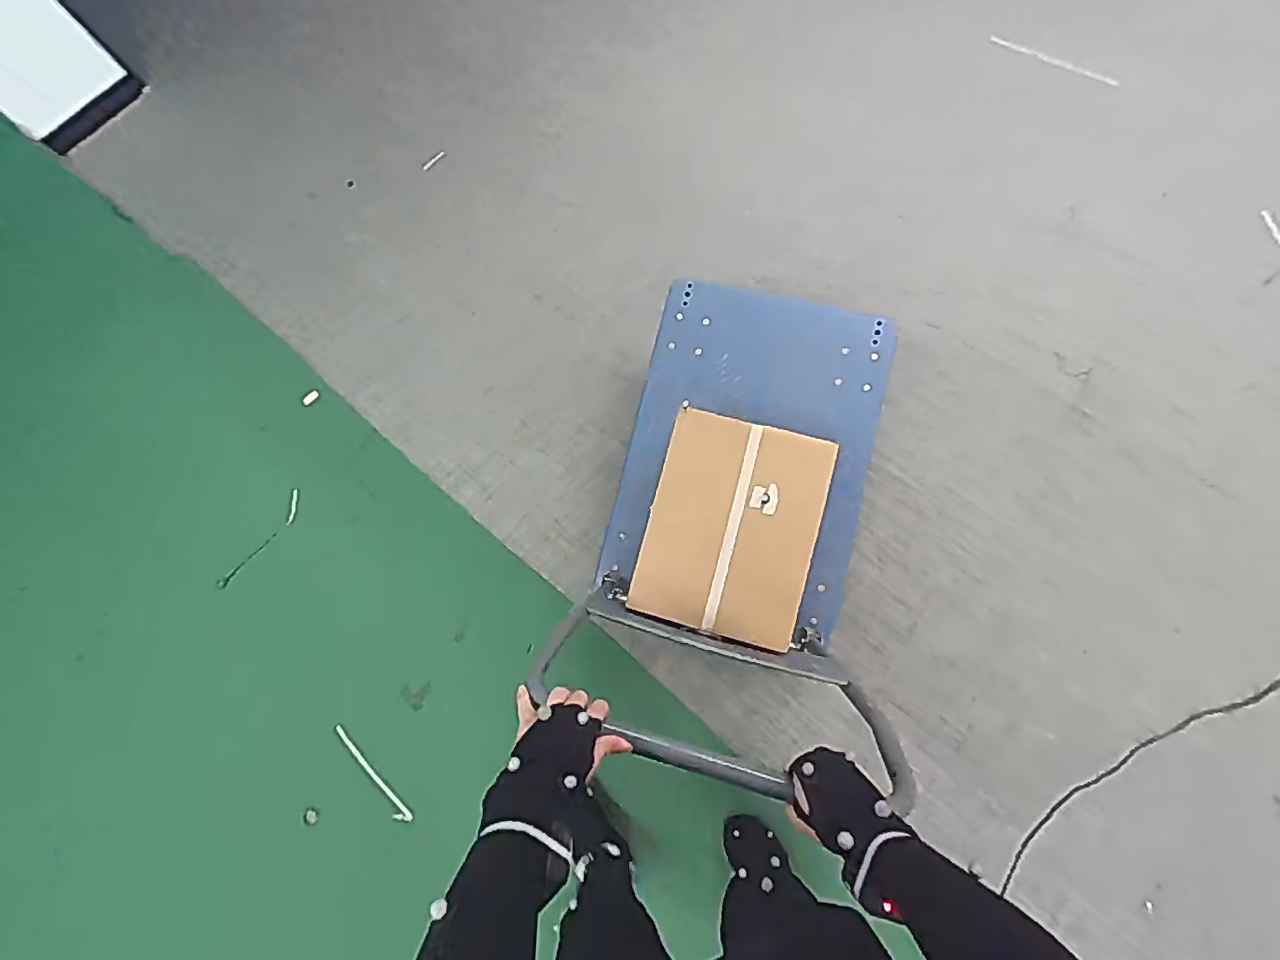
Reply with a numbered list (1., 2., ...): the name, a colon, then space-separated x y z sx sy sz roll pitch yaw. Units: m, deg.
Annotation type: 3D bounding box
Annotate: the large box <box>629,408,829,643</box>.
1. large box: 0.187 0.101 1.192 0.320 0.320 0.408 15 84 7
